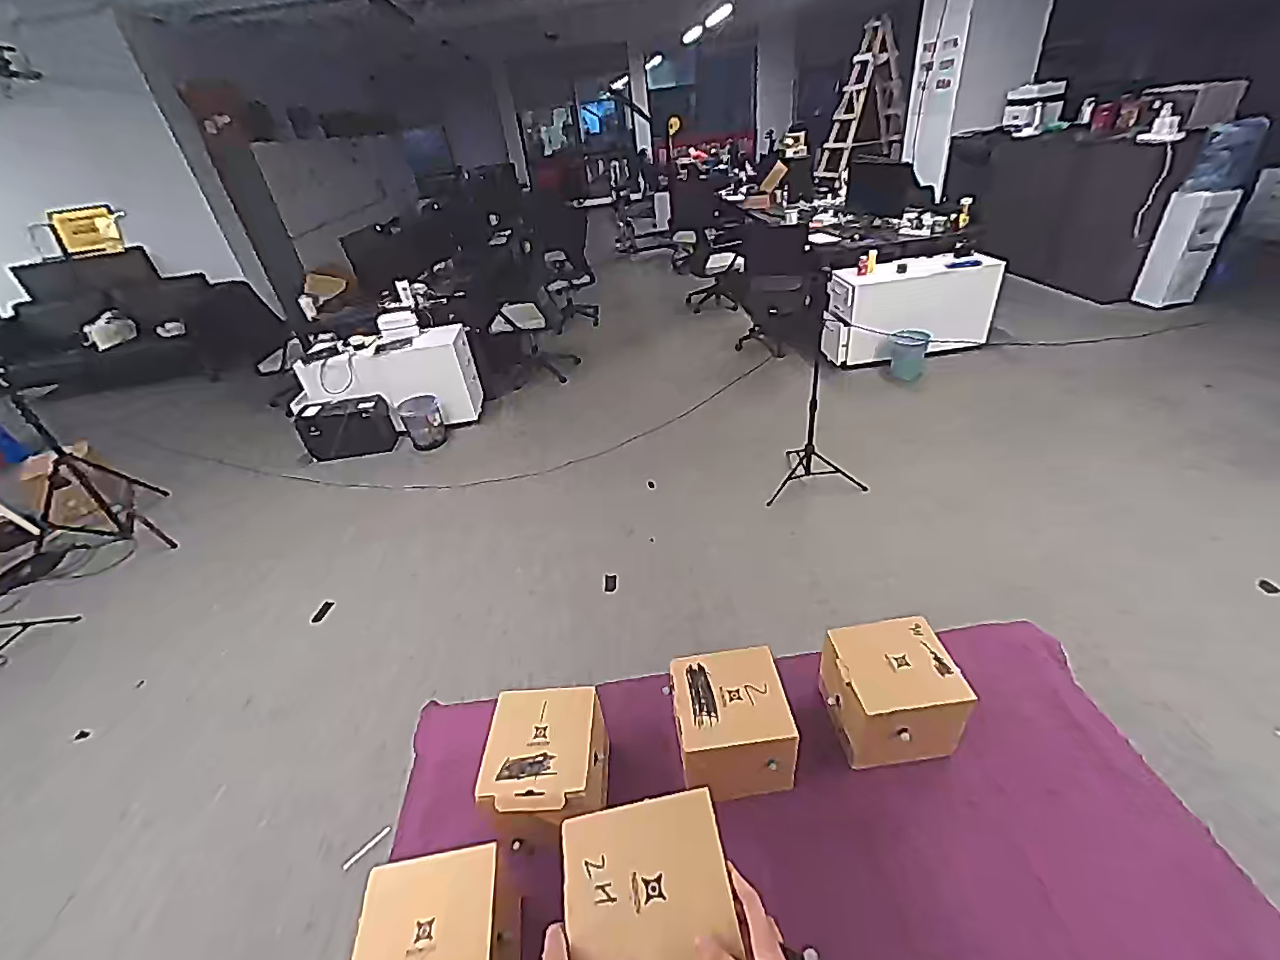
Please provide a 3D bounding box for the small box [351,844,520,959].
[{"bbox_3d":[-0.250,0.606,0.682,0.168,0.176,0.179,-9,34,-5],"label":"small box"}]

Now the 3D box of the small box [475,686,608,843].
[{"bbox_3d":[-0.146,0.463,0.875,0.168,0.176,0.179,-4,34,4],"label":"small box"}]

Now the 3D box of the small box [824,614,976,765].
[{"bbox_3d":[0.423,0.357,0.916,0.179,0.176,0.168,-9,36,0],"label":"small box"}]

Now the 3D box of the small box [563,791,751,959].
[{"bbox_3d":[0.020,0.480,0.604,0.179,0.176,0.168,-13,40,0],"label":"small box"}]
